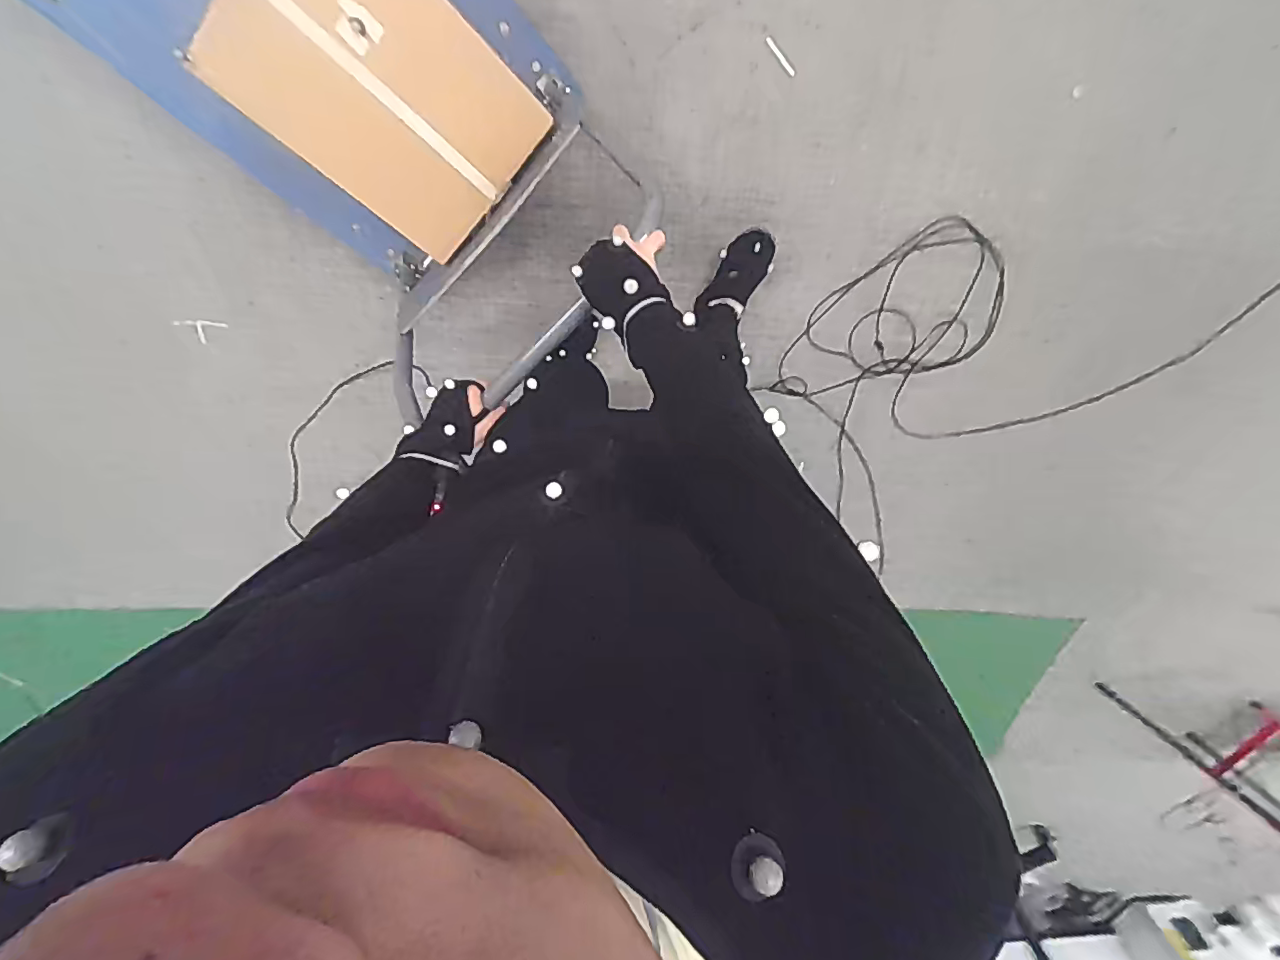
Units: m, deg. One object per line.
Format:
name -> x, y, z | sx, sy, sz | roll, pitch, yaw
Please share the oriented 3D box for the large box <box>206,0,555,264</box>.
large box -> -0.410, -0.670, 0.941 | 0.320, 0.320, 0.408 | -43, 128, 18
